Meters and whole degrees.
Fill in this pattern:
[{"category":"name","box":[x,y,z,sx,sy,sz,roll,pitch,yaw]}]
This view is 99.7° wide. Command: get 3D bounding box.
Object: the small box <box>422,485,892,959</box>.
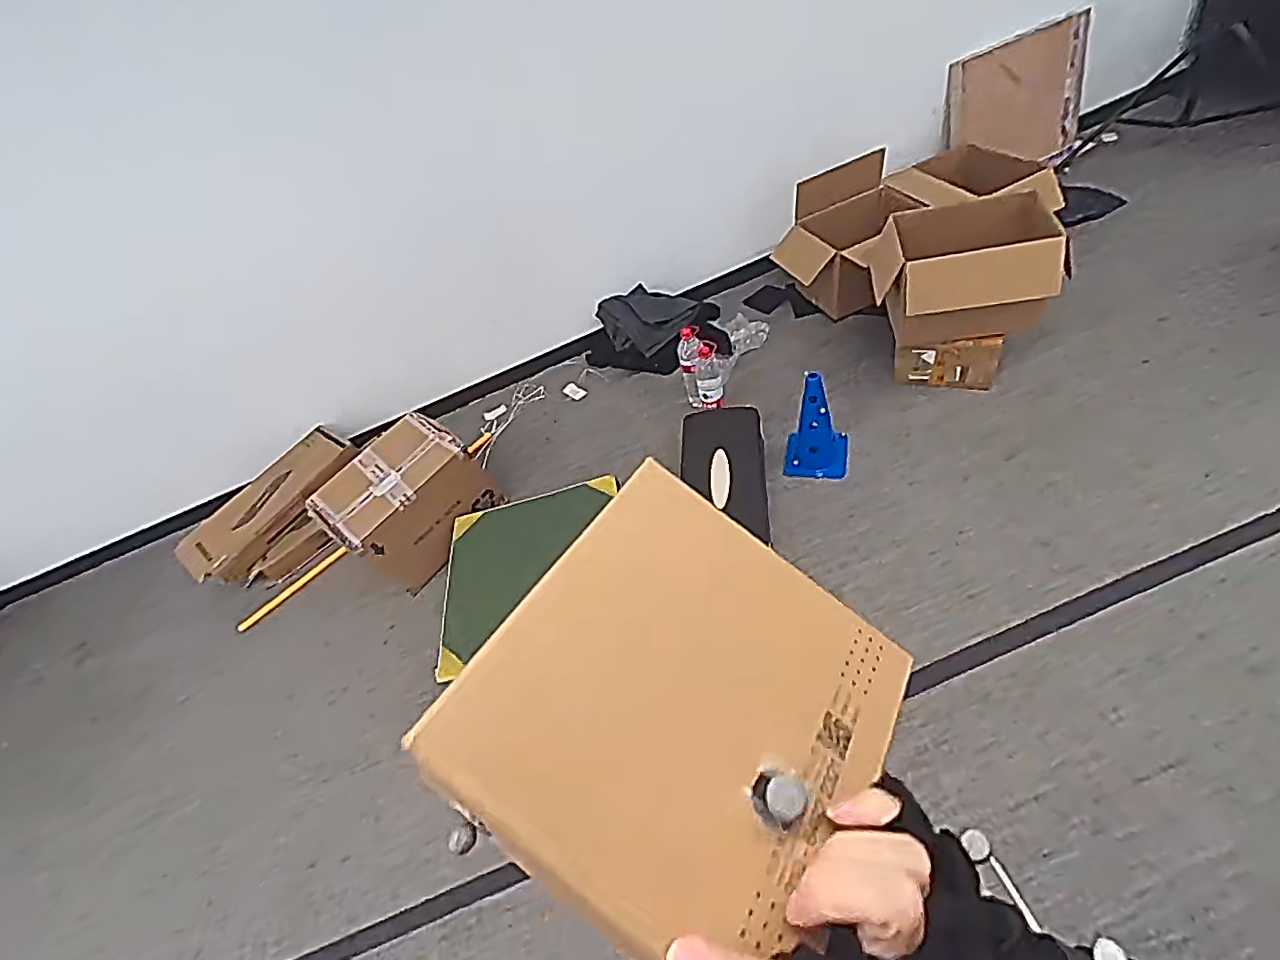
[{"category":"small box","box":[0.003,0.143,0.311,0.176,0.179,0.168,37,55,4]}]
